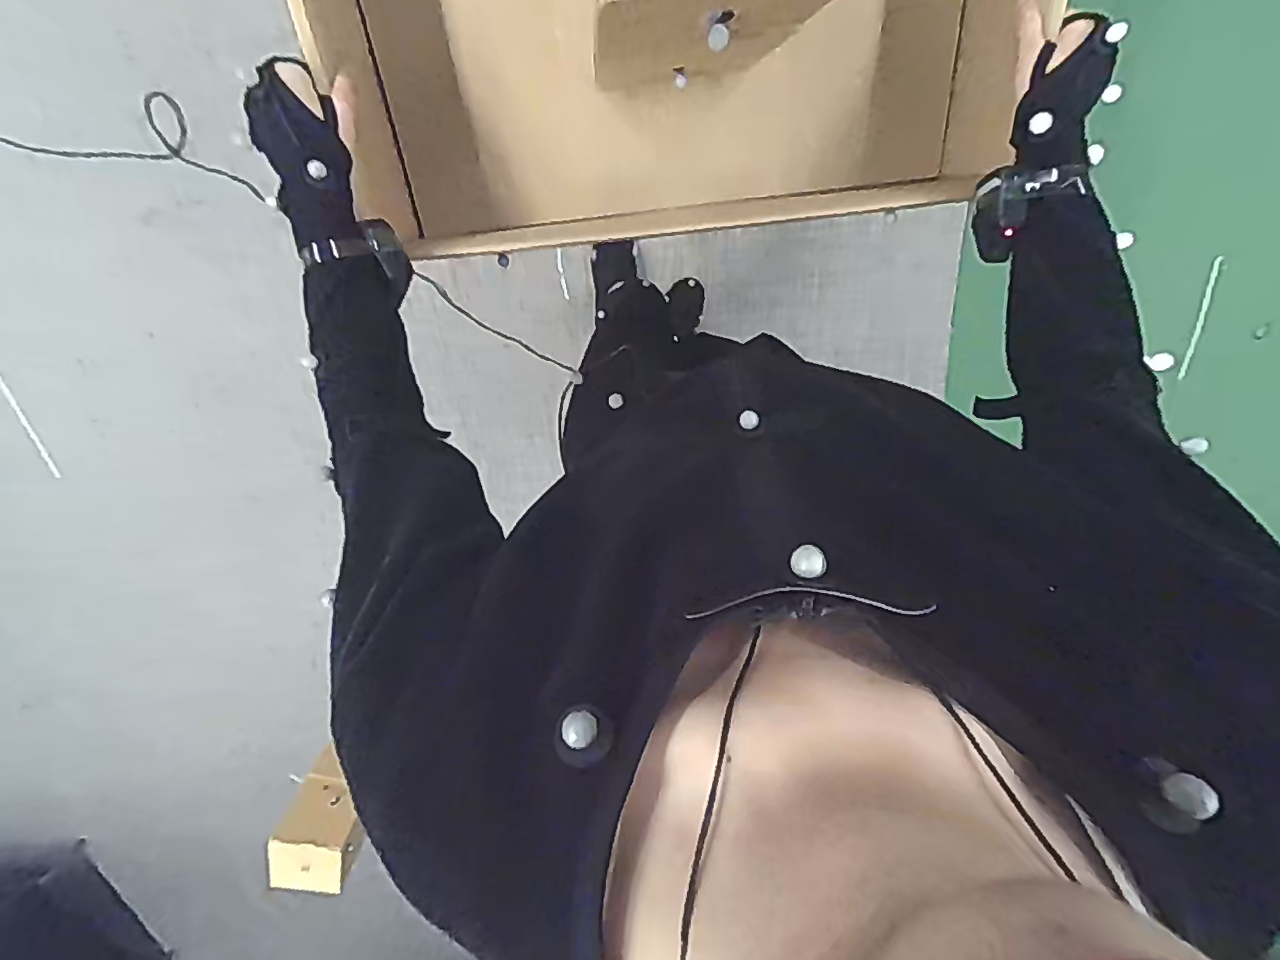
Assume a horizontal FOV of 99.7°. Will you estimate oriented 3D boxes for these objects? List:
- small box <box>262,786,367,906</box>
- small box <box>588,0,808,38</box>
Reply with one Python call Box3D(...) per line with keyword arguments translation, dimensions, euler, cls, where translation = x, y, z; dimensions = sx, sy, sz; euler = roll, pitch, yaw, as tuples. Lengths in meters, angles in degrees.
Box3D(translation=(-0.791, 0.895, 1.330), dimensions=(0.168, 0.176, 0.179), euler=(12, 112, -6), cls="small box")
Box3D(translation=(0.039, -0.376, 0.301), dimensions=(0.168, 0.176, 0.179), euler=(-10, 119, 1), cls="small box")
